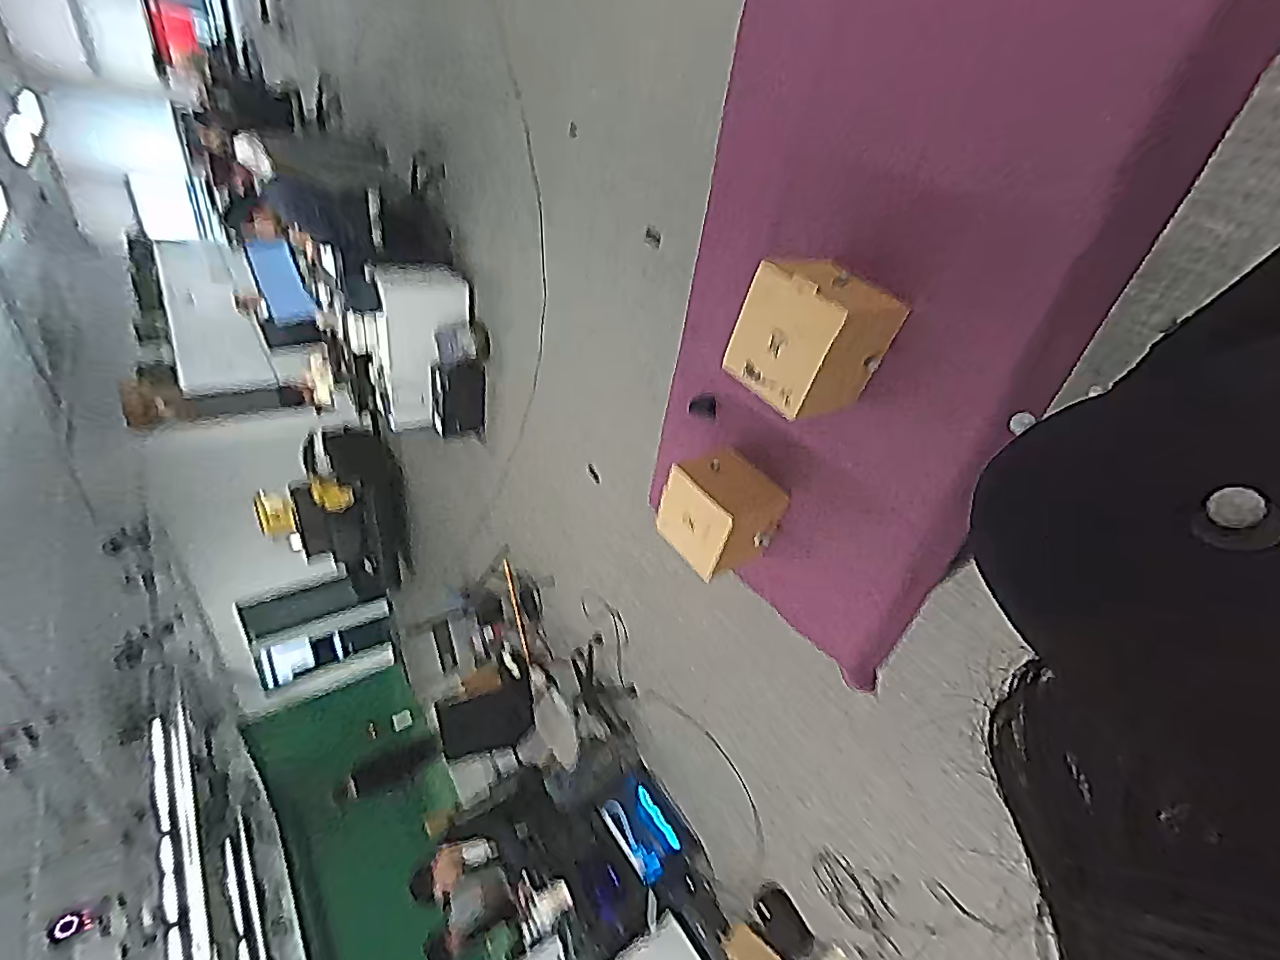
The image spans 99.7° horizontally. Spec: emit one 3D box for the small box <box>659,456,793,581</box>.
[{"bbox_3d":[0.169,0.066,1.085,0.179,0.176,0.168,44,136,34],"label":"small box"}]

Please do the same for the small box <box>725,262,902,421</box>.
[{"bbox_3d":[0.269,-0.218,0.834,0.168,0.176,0.179,48,137,32],"label":"small box"}]
